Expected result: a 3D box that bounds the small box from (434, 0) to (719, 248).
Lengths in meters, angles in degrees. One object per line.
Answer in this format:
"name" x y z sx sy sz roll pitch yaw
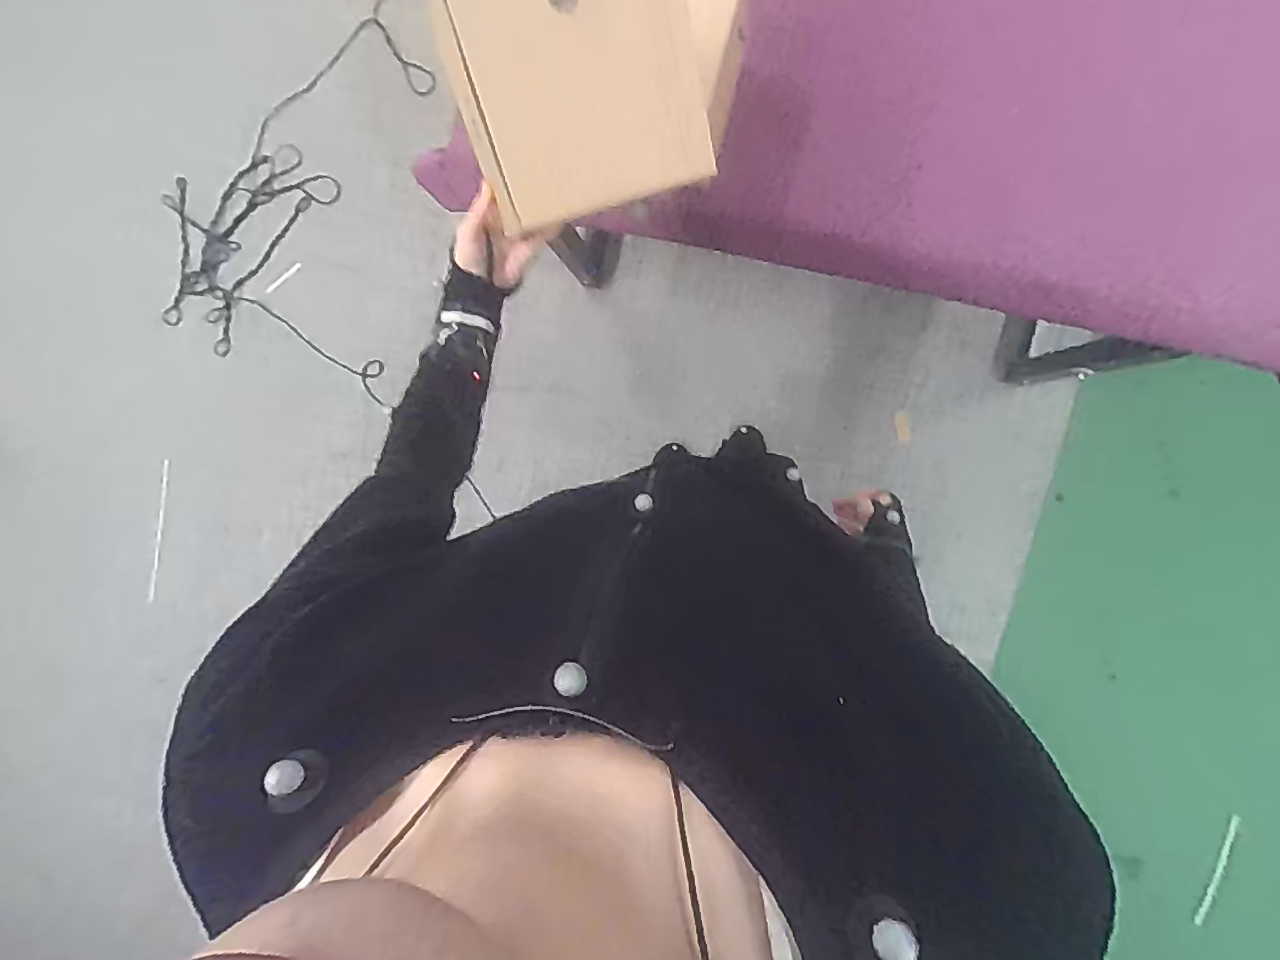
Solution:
"small box" -0.053 -0.306 0.445 0.176 0.168 0.179 -21 118 -7
